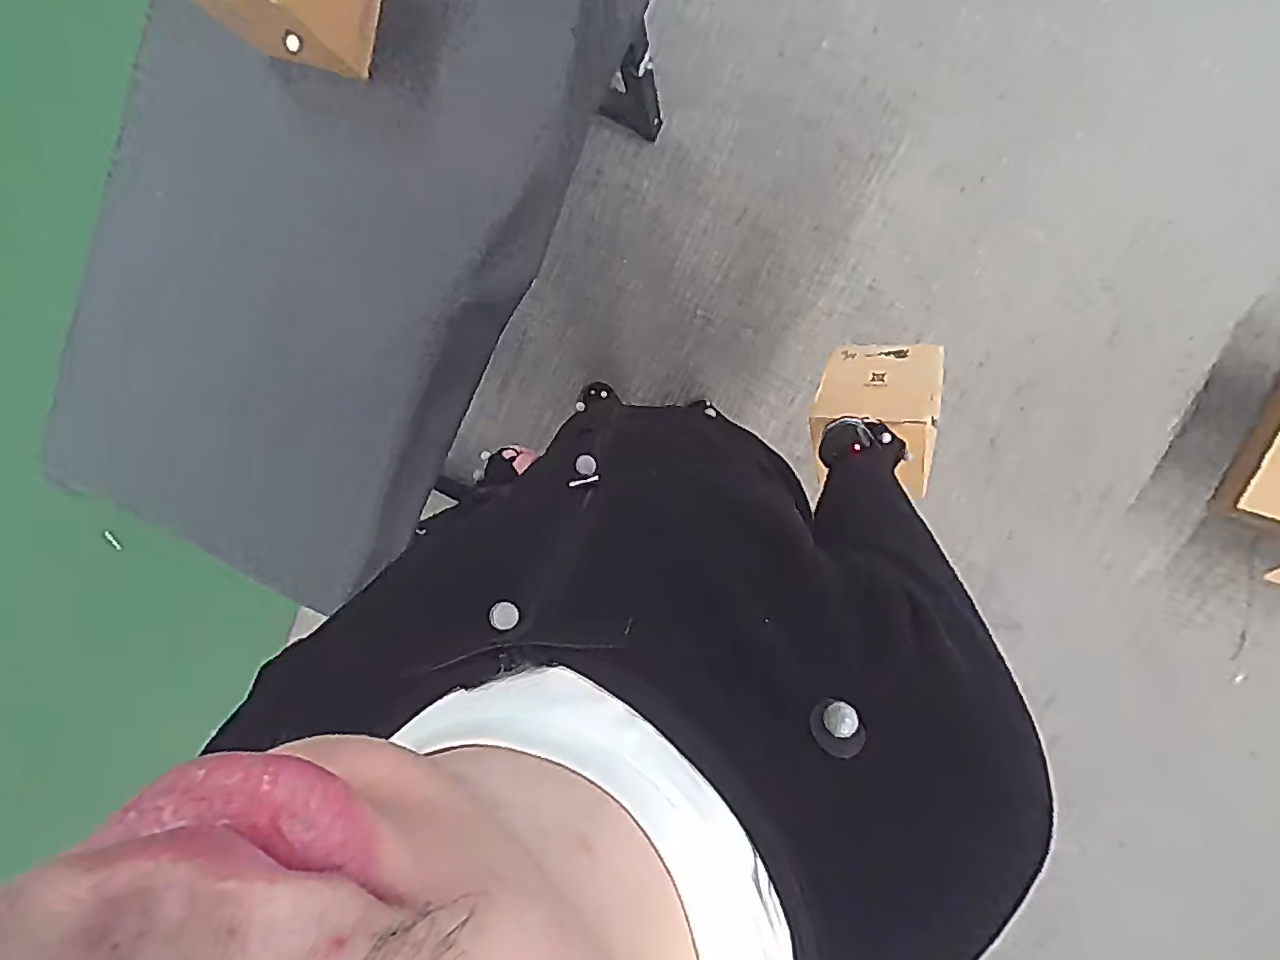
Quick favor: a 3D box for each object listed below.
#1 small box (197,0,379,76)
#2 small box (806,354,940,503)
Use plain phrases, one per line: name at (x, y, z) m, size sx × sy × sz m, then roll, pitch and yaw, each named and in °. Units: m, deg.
small box at (-0.463, -0.668, 0.697) m, size 0.179 × 0.176 × 0.168 m, roll 18°, pitch 99°, yaw 4°
small box at (0.383, -0.085, 0.884) m, size 0.168 × 0.179 × 0.176 m, roll 9°, pitch 143°, yaw 30°
